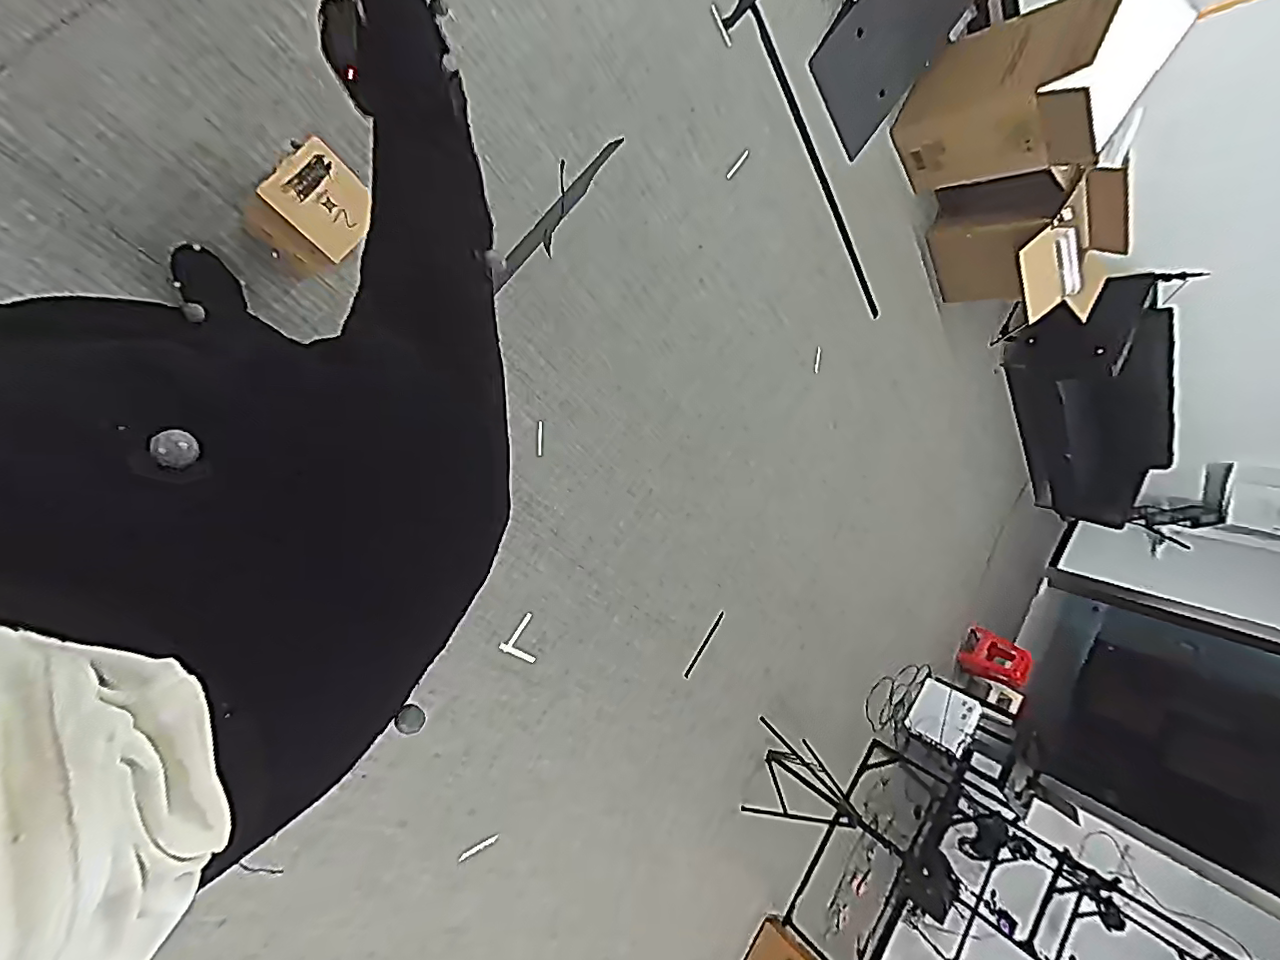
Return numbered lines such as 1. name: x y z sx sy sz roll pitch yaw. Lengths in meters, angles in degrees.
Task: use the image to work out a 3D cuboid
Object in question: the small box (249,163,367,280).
1. small box: -0.781 -0.595 1.264 0.168 0.176 0.179 43 75 -38
